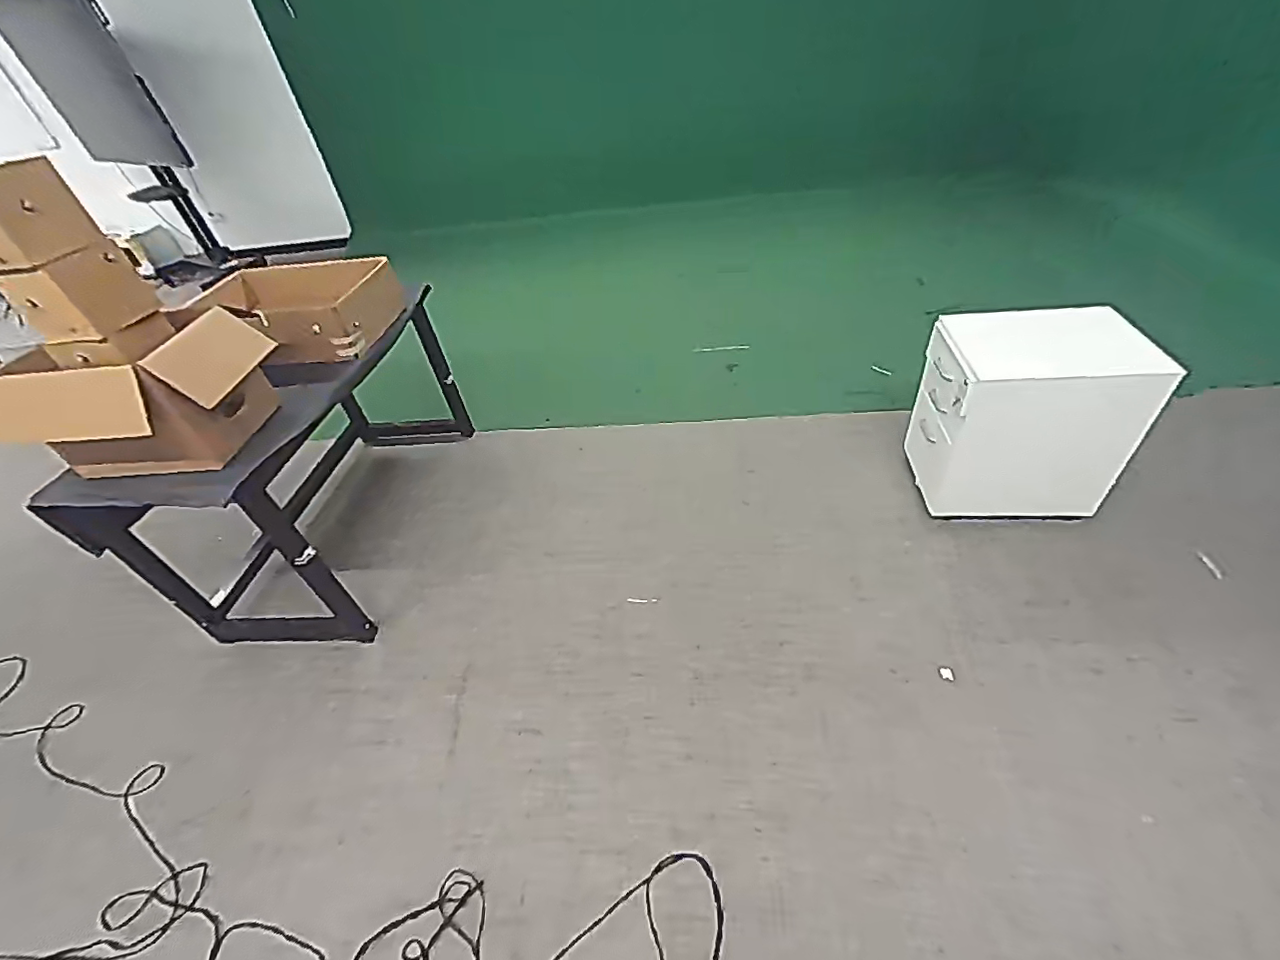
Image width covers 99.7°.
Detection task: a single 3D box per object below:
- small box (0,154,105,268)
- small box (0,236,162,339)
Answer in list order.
[{"bbox_3d":[-1.286,-0.546,1.109,0.168,0.176,0.179,1,43,10],"label":"small box"},{"bbox_3d":[-1.261,-0.431,1.224,0.168,0.176,0.179,2,43,12],"label":"small box"}]
